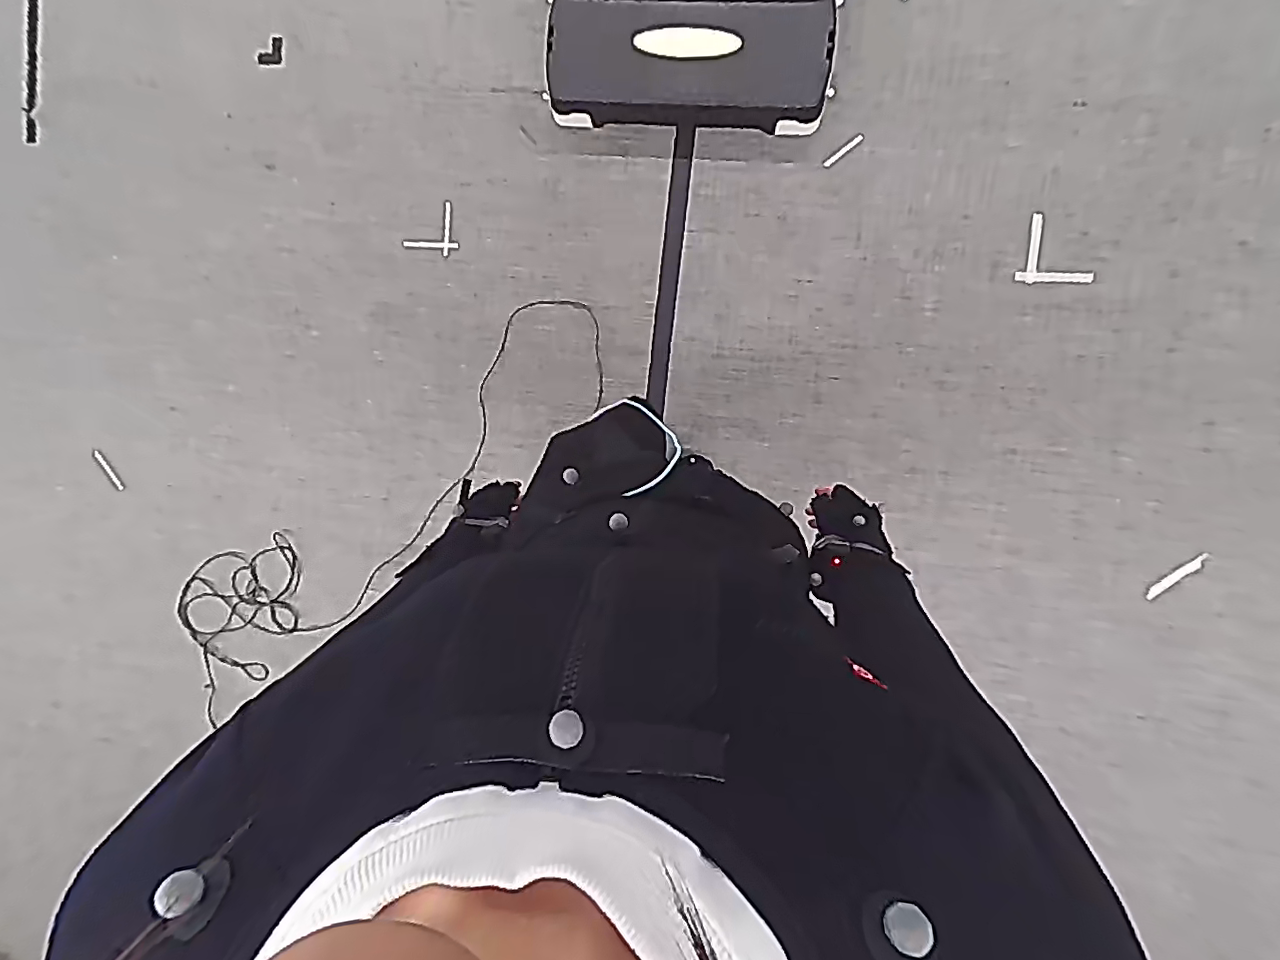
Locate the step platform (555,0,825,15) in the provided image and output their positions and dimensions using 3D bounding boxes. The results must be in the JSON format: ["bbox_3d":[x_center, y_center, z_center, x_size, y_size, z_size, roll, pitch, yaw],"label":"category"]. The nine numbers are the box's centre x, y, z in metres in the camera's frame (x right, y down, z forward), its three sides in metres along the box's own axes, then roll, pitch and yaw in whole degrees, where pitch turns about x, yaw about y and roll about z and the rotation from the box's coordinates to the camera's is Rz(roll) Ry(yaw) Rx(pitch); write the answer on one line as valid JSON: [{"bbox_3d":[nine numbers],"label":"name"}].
[{"bbox_3d":[0.112,-1.264,1.210,0.684,0.204,0.286,5,97,5],"label":"step platform"}]
